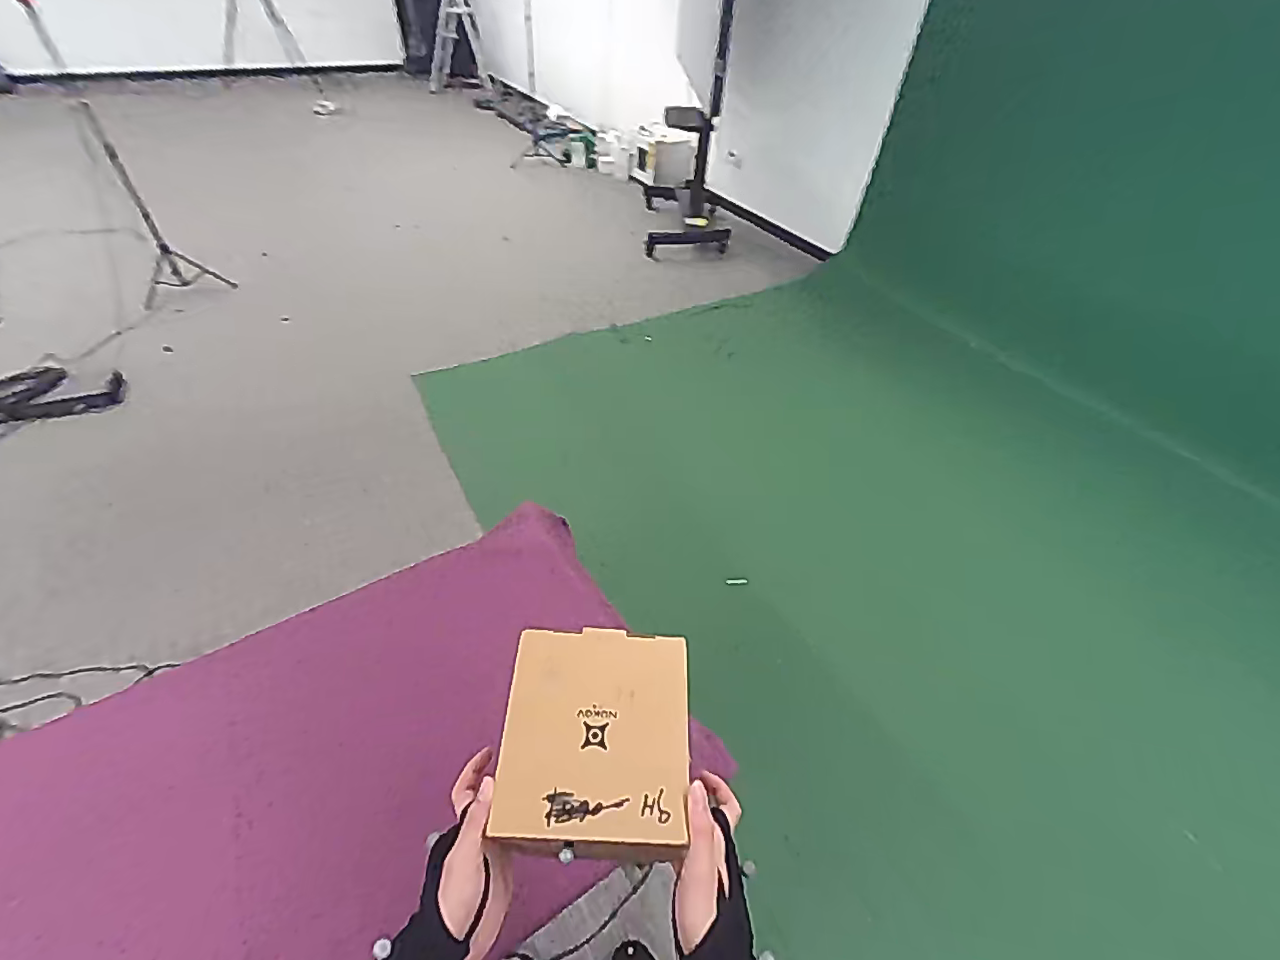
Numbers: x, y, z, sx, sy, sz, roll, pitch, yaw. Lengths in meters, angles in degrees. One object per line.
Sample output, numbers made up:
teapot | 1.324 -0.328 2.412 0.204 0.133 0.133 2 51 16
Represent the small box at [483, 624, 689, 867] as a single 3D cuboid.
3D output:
small box | -0.043 0.265 0.536 0.168 0.176 0.179 3 50 0
